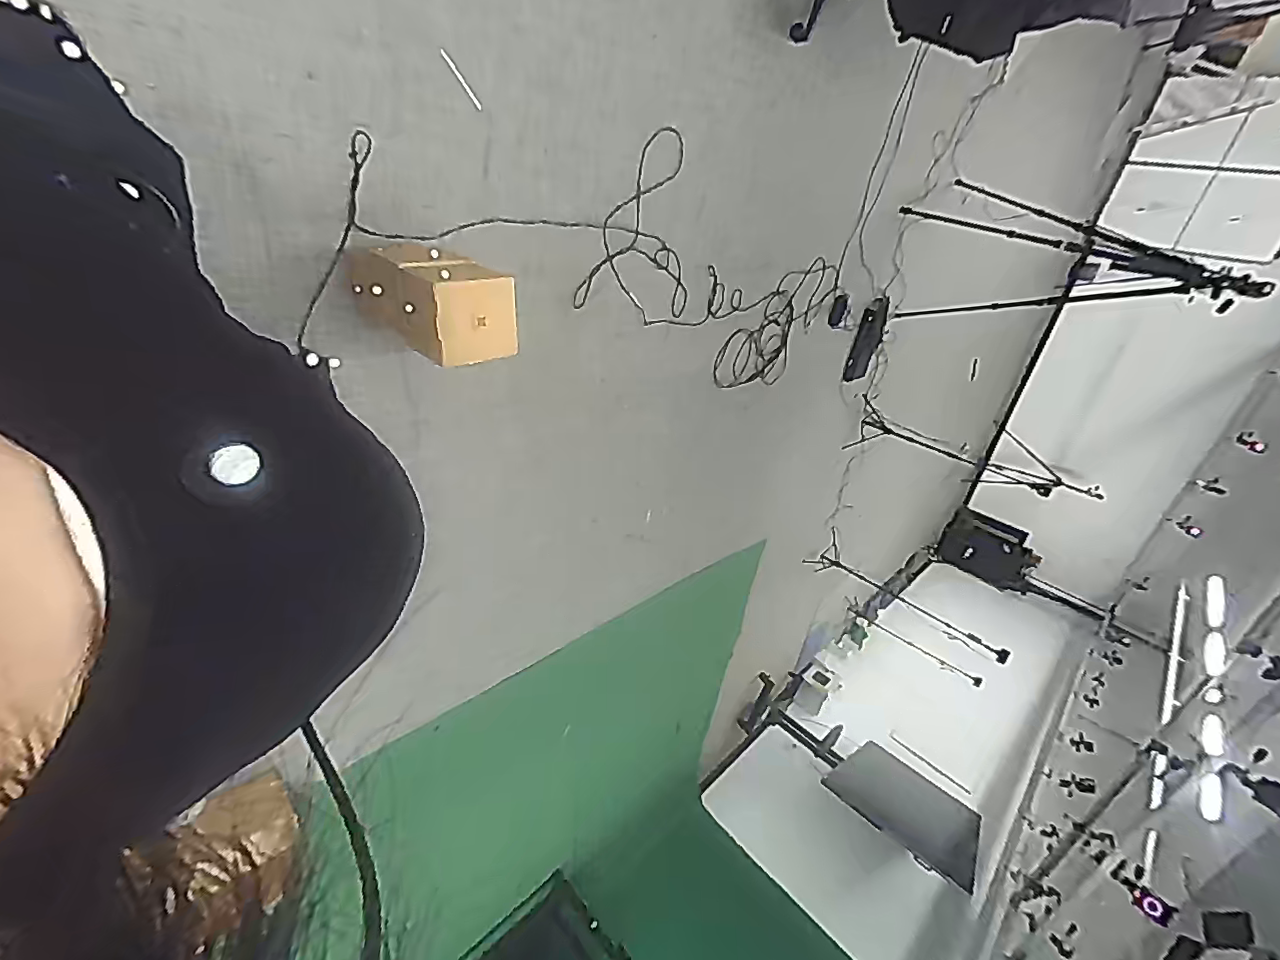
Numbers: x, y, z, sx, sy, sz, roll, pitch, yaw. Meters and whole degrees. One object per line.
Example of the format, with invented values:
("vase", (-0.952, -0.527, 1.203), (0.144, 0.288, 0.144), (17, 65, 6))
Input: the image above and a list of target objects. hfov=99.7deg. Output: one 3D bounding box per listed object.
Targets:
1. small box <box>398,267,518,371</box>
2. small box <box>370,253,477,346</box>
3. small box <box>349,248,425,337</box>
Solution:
("small box", (-0.377, -0.345, 1.135), (0.179, 0.176, 0.168), (-23, 130, -37))
("small box", (-0.486, -0.418, 1.232), (0.179, 0.176, 0.168), (-22, 129, -38))
("small box", (-0.597, -0.470, 1.342), (0.179, 0.176, 0.168), (-27, 133, -37))
